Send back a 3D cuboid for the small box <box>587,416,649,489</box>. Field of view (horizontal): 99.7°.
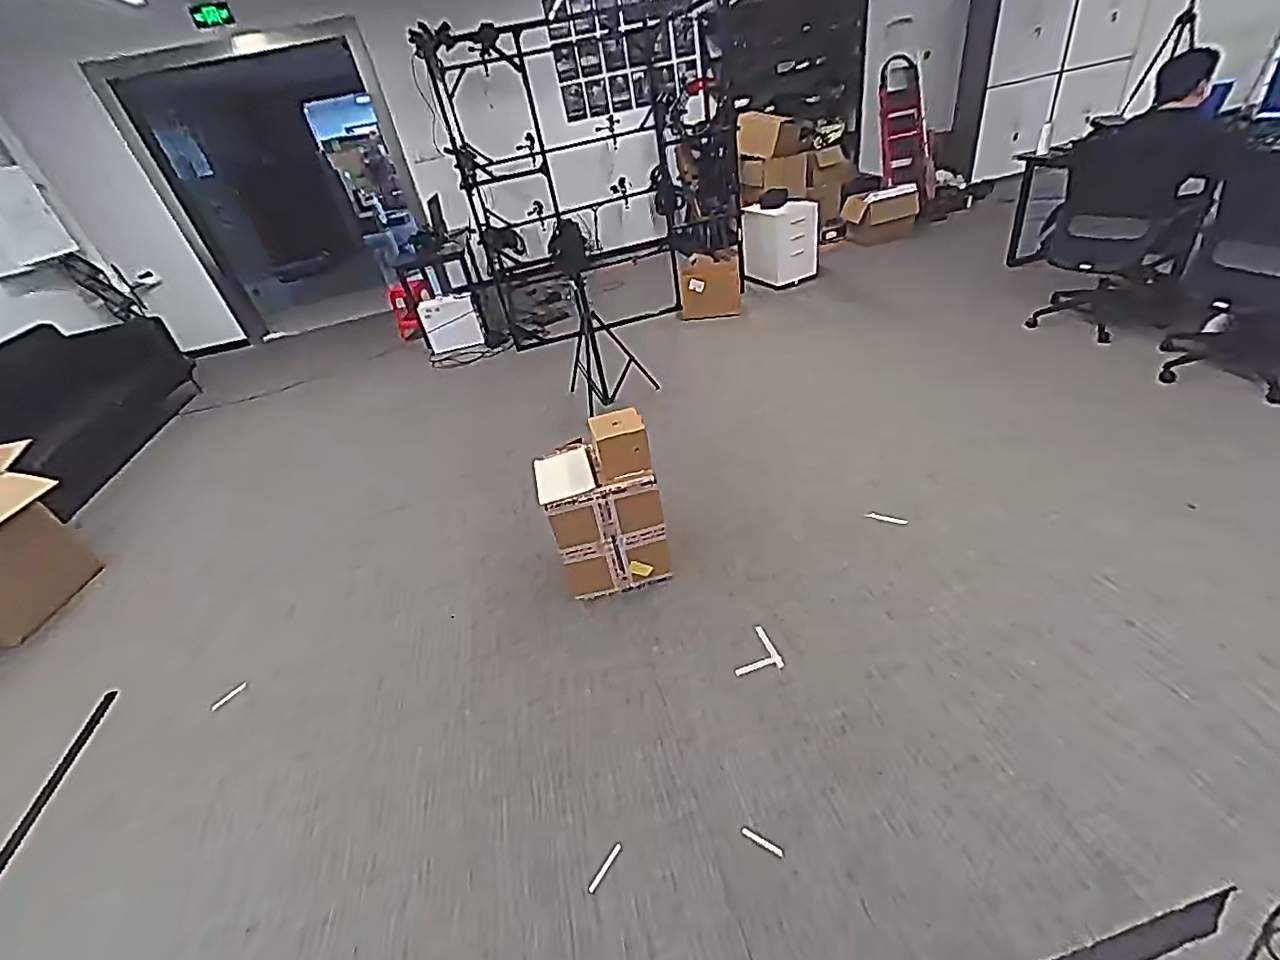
[{"bbox_3d":[-0.071,-0.096,1.879,0.179,0.176,0.168,-16,37,-8],"label":"small box"}]
